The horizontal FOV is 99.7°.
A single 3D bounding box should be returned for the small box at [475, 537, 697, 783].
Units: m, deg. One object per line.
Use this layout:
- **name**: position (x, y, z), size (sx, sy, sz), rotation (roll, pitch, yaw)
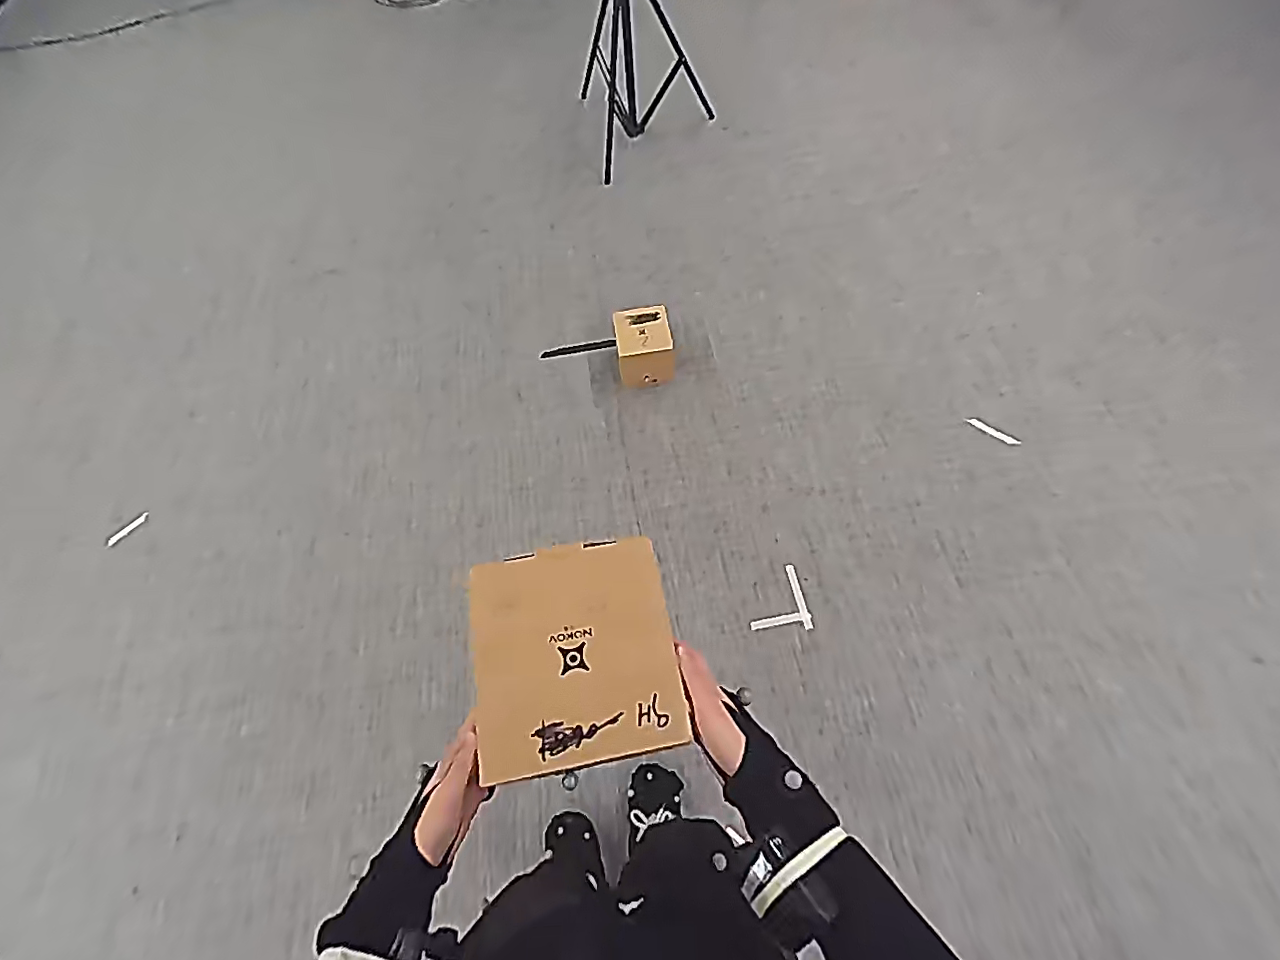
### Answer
- **small box**: position (-0.053, 0.176, 0.515), size (0.168, 0.176, 0.179), rotation (-10, 63, -6)
